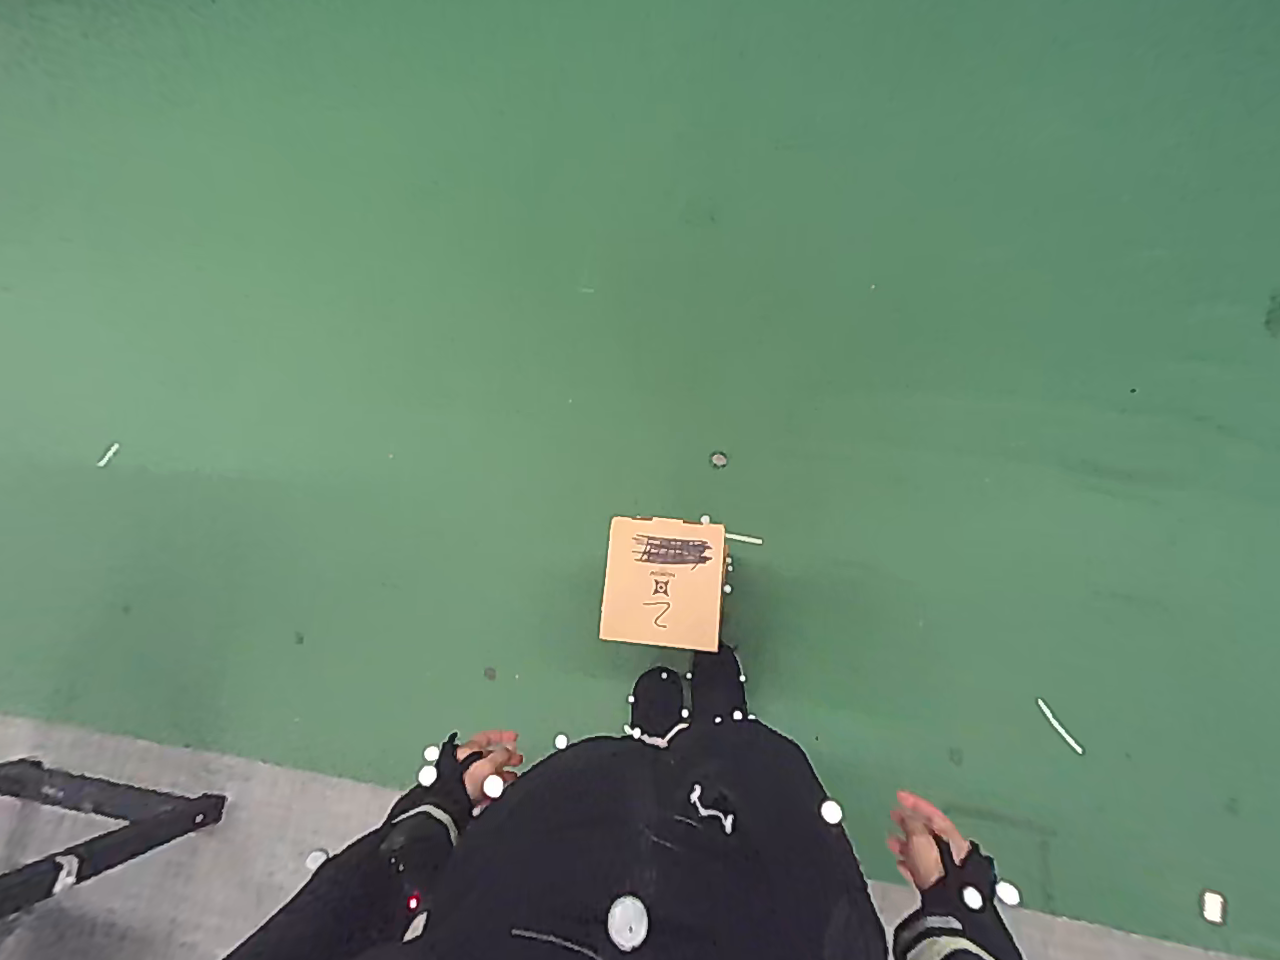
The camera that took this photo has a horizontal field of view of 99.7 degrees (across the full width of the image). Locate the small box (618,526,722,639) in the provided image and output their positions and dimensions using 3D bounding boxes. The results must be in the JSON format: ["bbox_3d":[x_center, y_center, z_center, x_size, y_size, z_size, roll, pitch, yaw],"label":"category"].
[{"bbox_3d":[0.063,0.188,0.994,0.168,0.176,0.179,4,78,9],"label":"small box"}]
